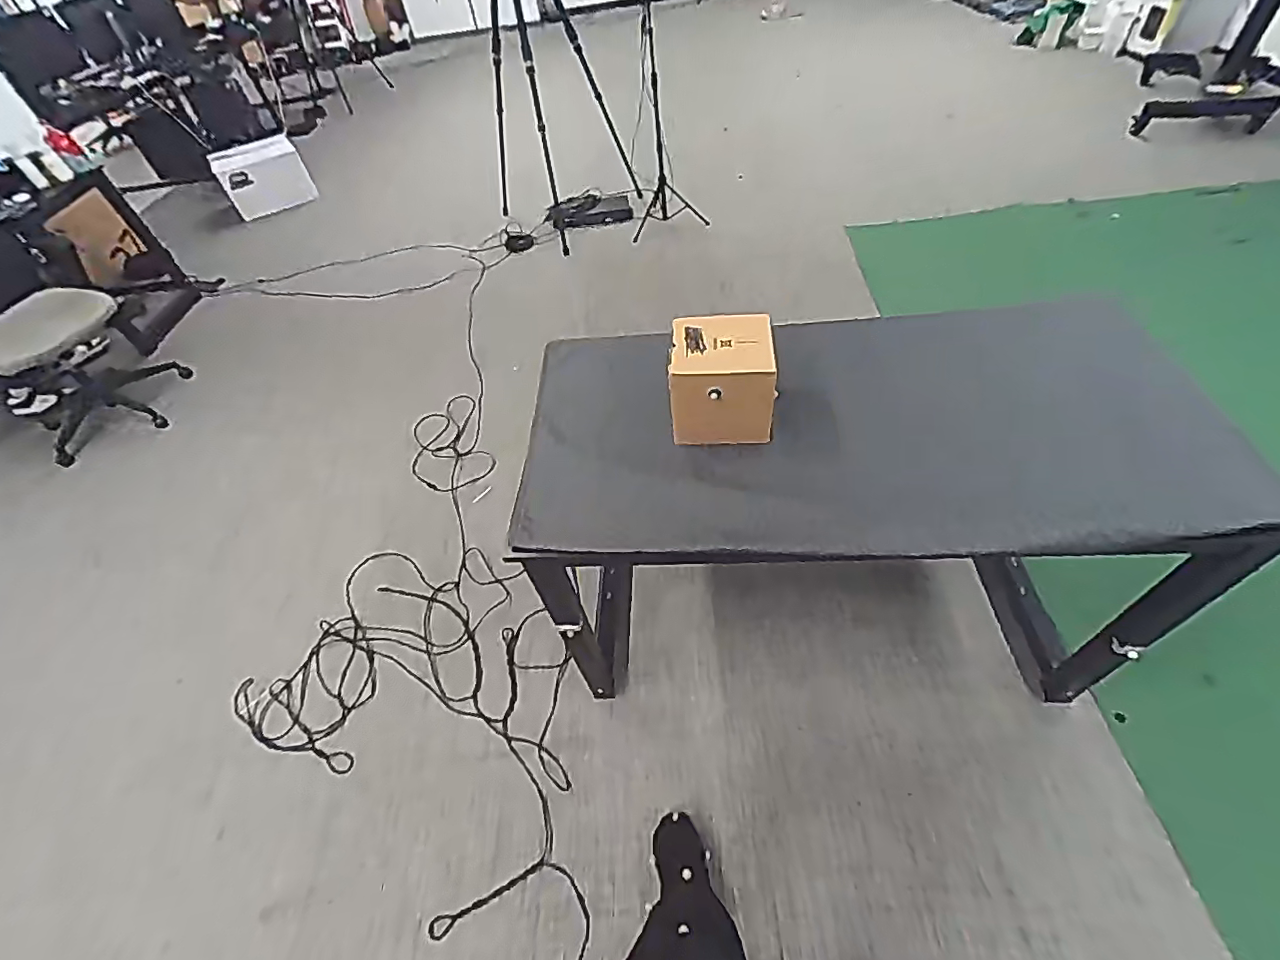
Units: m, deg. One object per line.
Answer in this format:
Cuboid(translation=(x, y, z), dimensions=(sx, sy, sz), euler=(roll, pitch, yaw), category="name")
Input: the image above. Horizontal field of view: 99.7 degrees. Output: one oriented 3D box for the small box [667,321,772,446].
Cuboid(translation=(0.147, -0.176, 1.006), dimensions=(0.179, 0.176, 0.168), euler=(0, 49, 7), category="small box")
